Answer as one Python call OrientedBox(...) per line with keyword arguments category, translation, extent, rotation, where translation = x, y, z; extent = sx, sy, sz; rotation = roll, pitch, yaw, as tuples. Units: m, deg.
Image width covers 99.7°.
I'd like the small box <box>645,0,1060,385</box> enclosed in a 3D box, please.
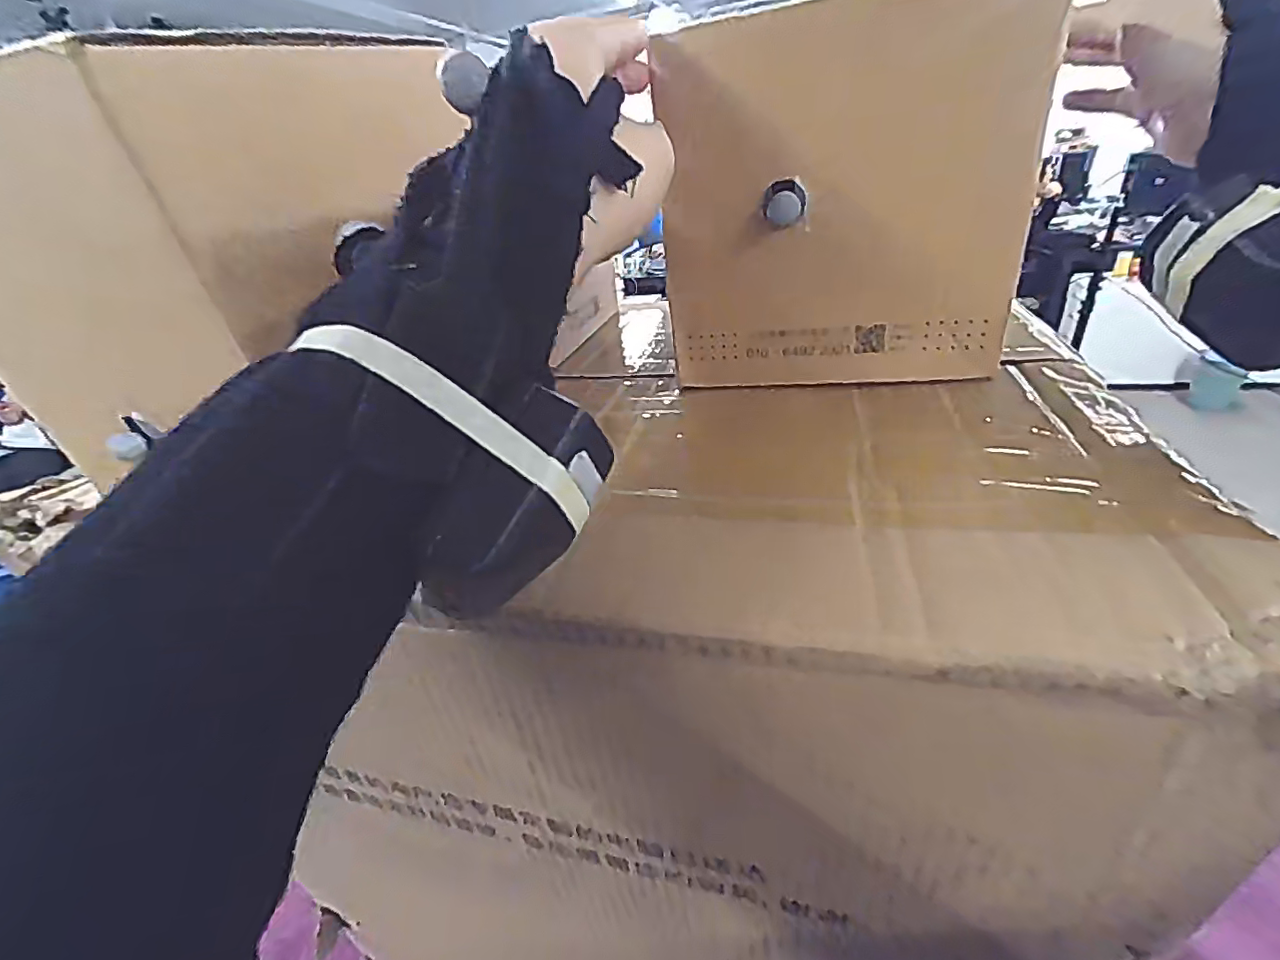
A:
OrientedBox(category="small box", translation=(0.112, -0.160, 0.322), extent=(0.168, 0.176, 0.179), rotation=(1, 30, 17))
